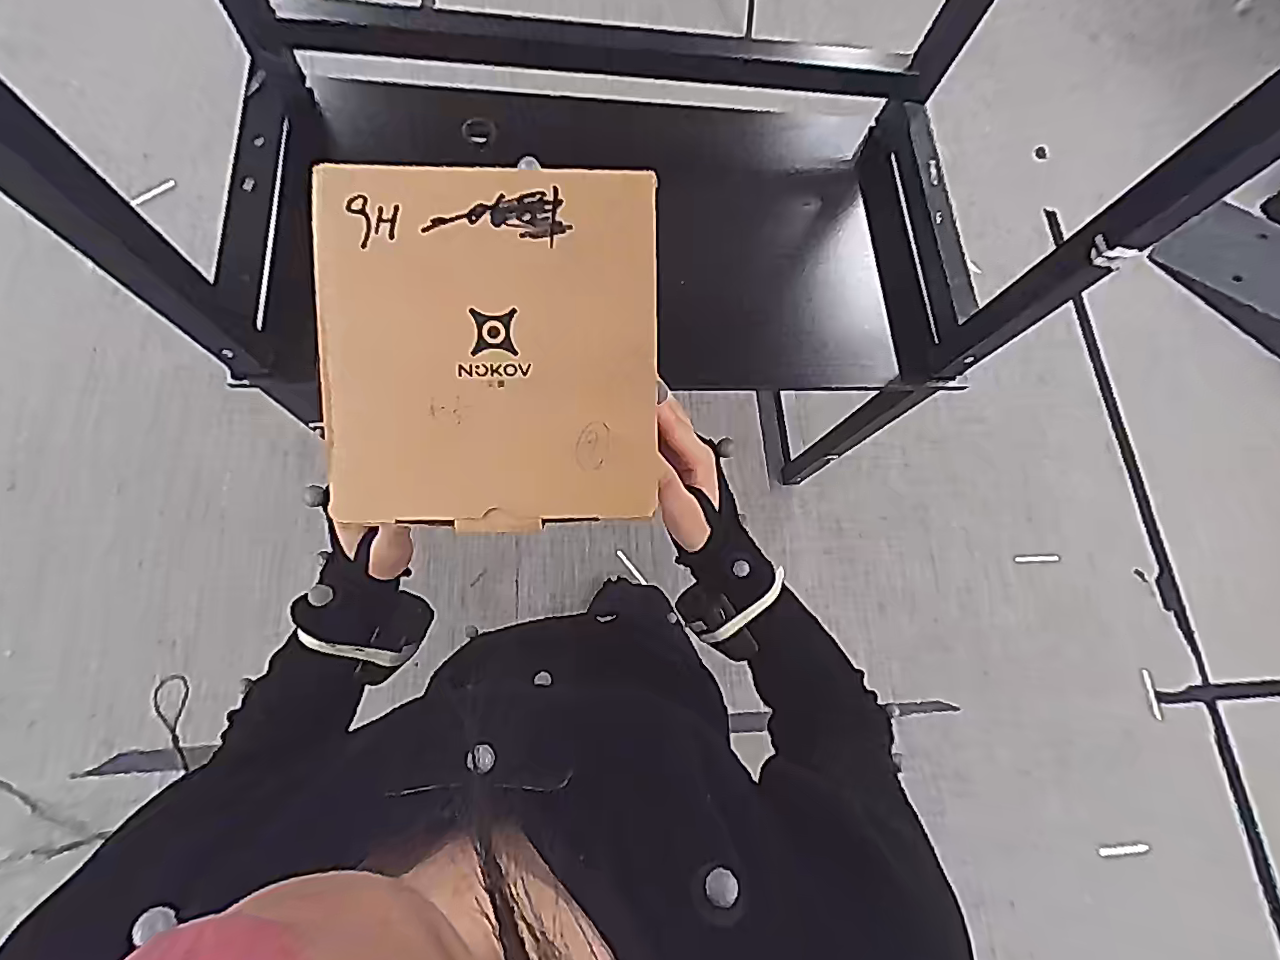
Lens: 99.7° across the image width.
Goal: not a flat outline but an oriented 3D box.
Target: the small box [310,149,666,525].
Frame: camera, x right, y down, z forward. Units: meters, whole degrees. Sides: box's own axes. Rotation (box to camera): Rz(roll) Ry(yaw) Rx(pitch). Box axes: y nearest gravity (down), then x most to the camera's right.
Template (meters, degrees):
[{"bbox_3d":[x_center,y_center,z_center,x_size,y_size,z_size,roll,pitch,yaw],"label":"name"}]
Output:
[{"bbox_3d":[-0.074,-0.074,0.339,0.168,0.176,0.179,-1,96,-5],"label":"small box"}]
